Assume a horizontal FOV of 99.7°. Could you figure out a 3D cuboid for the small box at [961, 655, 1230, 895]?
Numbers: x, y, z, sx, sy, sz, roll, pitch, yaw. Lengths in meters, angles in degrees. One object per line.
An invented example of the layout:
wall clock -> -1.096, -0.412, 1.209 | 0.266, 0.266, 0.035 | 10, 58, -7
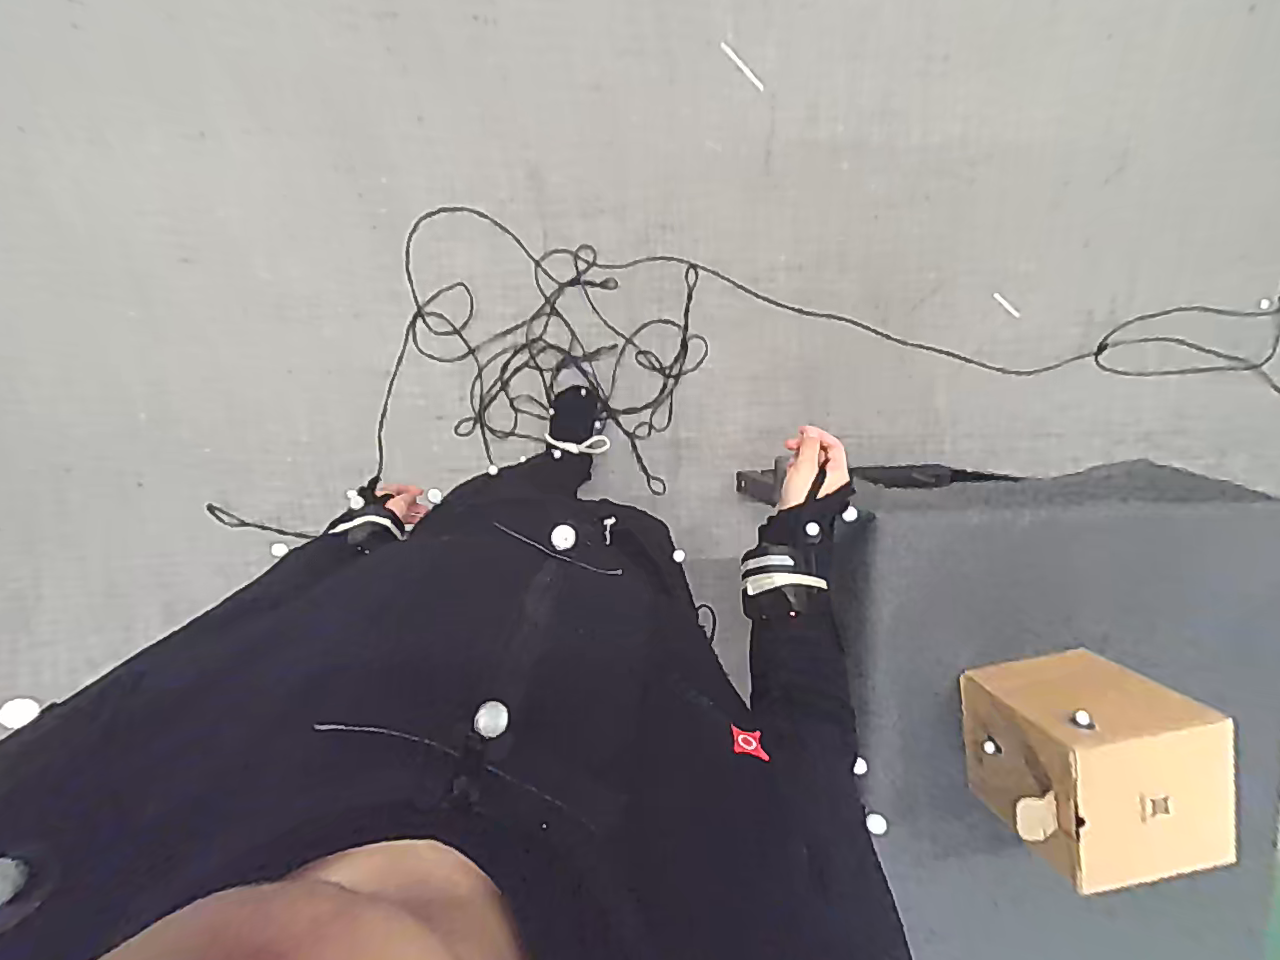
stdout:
small box -> 0.514, 0.324, 0.630 | 0.179, 0.176, 0.168 | -10, 98, -4
